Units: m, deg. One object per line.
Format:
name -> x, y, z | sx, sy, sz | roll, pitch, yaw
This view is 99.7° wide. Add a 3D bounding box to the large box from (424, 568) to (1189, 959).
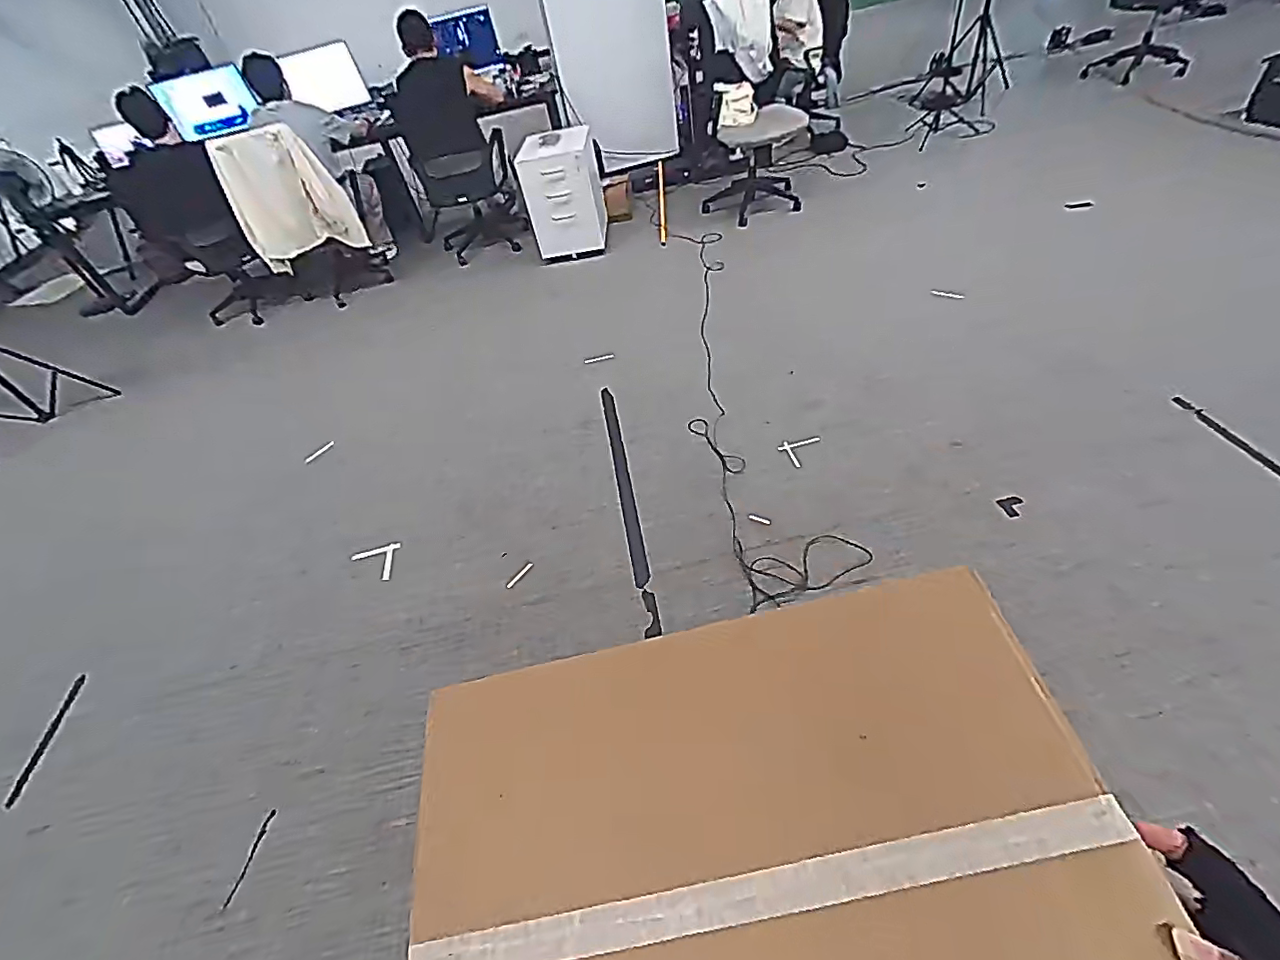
large box -> 0.094, 0.317, 0.428 | 0.408, 0.320, 0.320 | -15, 52, 3
